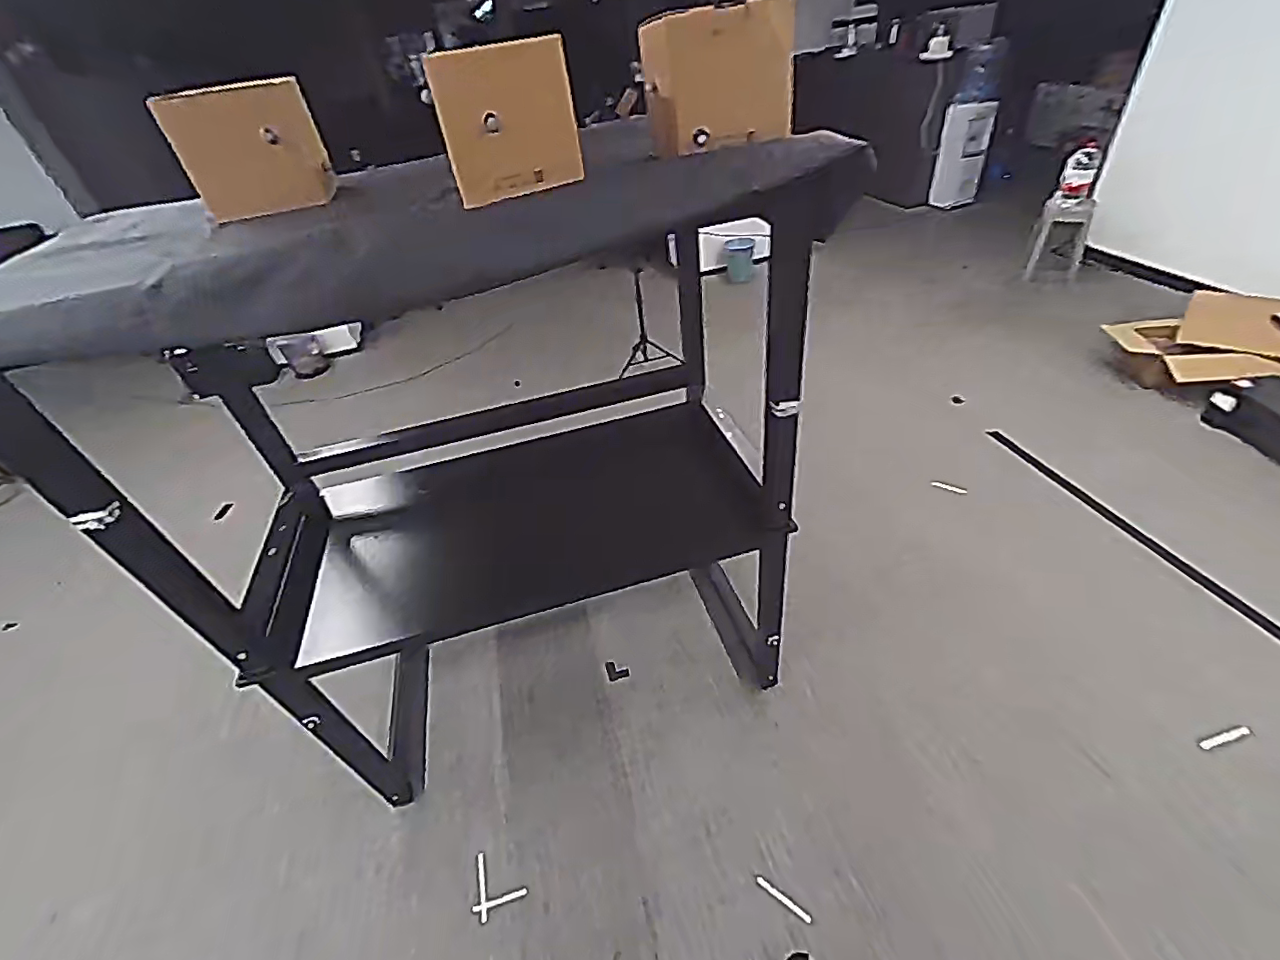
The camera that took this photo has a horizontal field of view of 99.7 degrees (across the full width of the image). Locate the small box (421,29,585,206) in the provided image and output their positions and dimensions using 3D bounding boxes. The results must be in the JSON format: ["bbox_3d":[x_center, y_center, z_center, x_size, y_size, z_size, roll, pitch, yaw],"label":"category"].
[{"bbox_3d":[-0.181,-0.485,0.733,0.168,0.176,0.179,-16,38,-8],"label":"small box"}]

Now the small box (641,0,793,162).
[{"bbox_3d":[0.108,-0.563,0.767,0.168,0.176,0.179,-14,36,-5],"label":"small box"}]
